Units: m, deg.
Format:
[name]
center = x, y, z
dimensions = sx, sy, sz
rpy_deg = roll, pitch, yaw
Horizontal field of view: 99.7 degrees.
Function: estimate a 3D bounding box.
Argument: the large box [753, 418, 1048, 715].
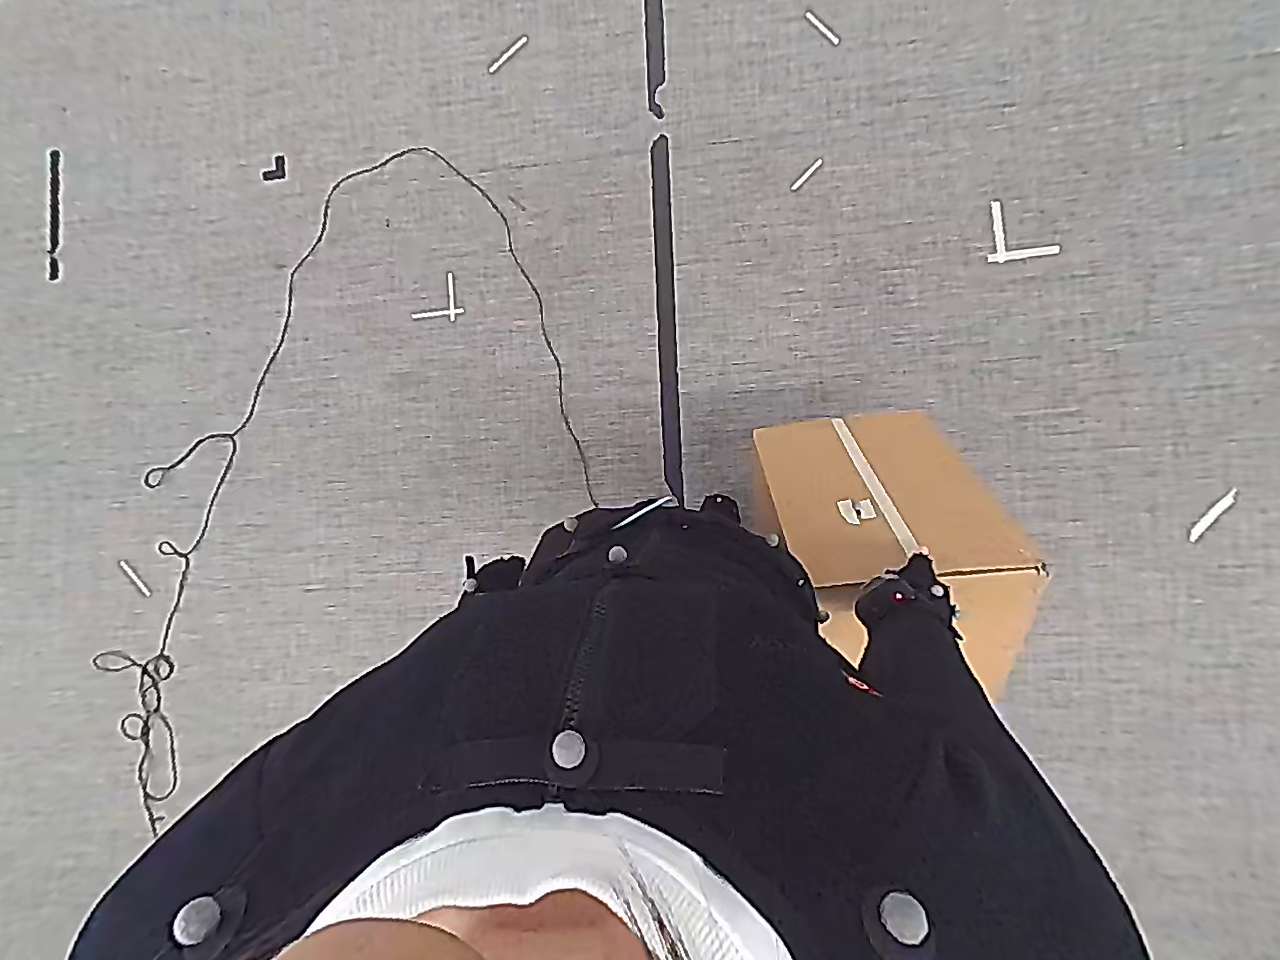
[large box]
center = 0.385, 0.135, 0.942
dimensions = 0.320, 0.408, 0.320
rpy_deg = -7, 127, 5
